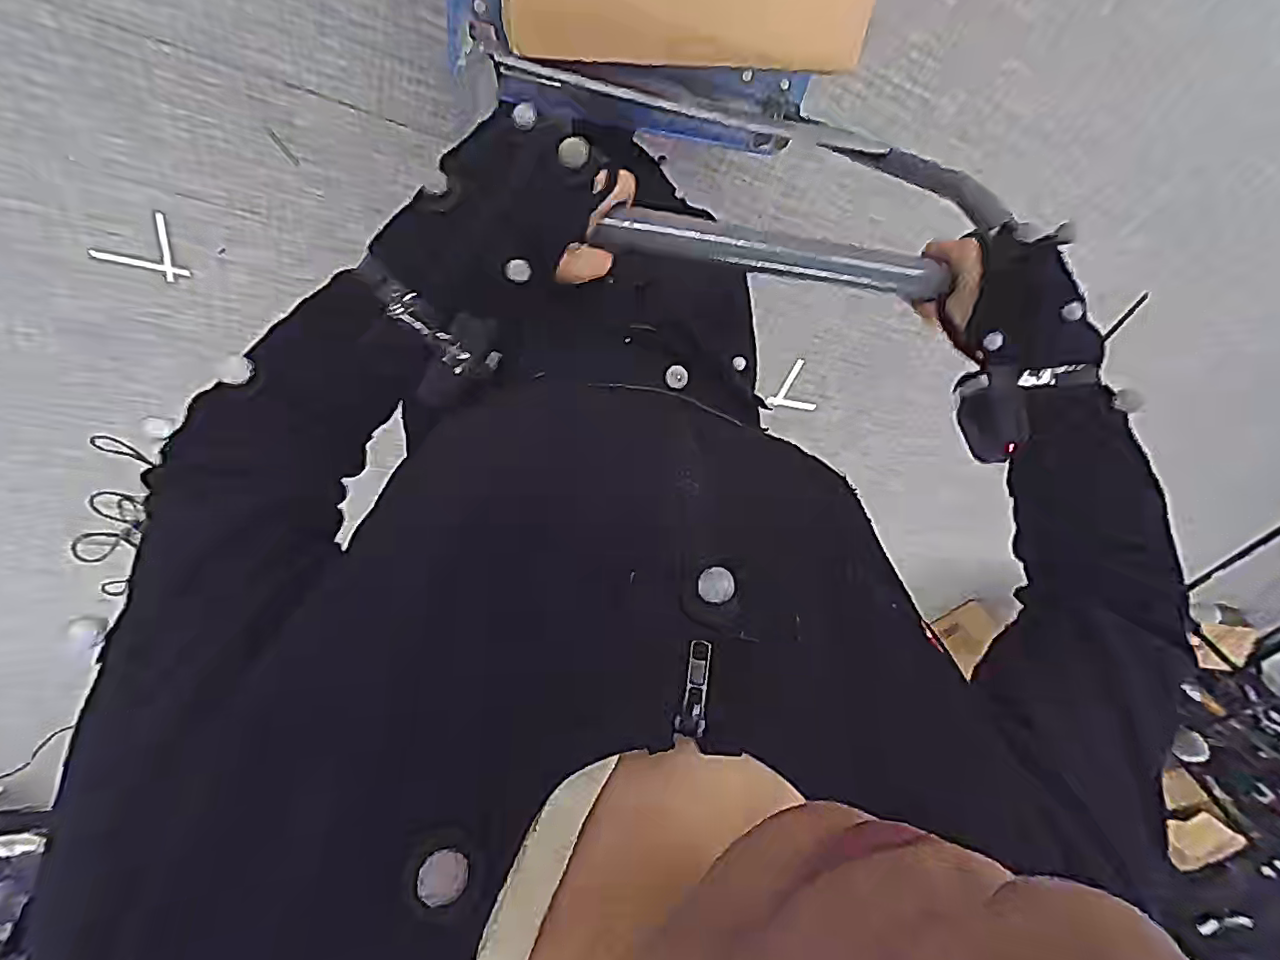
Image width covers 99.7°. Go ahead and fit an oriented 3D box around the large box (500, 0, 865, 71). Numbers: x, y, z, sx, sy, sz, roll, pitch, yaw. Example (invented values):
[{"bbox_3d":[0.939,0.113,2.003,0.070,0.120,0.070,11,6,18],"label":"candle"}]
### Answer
[{"bbox_3d":[0.032,-0.683,0.619,0.408,0.320,0.320,-7,134,-12],"label":"large box"}]
